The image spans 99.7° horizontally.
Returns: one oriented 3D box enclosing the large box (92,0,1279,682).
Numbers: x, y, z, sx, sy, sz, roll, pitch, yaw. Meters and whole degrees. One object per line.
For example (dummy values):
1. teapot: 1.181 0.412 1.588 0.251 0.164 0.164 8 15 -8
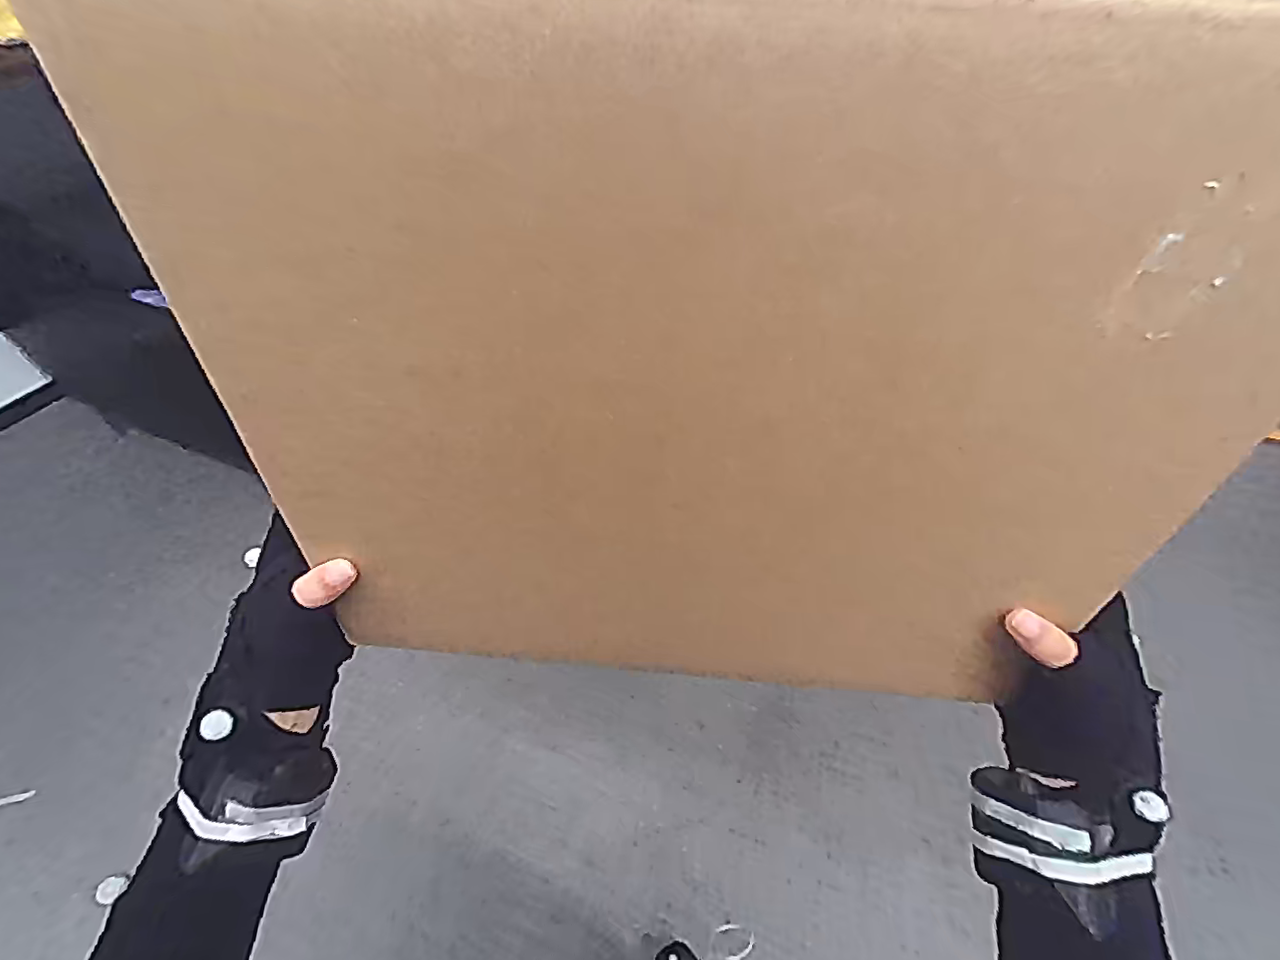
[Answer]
1. large box: 0.042 -0.097 0.351 0.408 0.320 0.320 5 40 0
